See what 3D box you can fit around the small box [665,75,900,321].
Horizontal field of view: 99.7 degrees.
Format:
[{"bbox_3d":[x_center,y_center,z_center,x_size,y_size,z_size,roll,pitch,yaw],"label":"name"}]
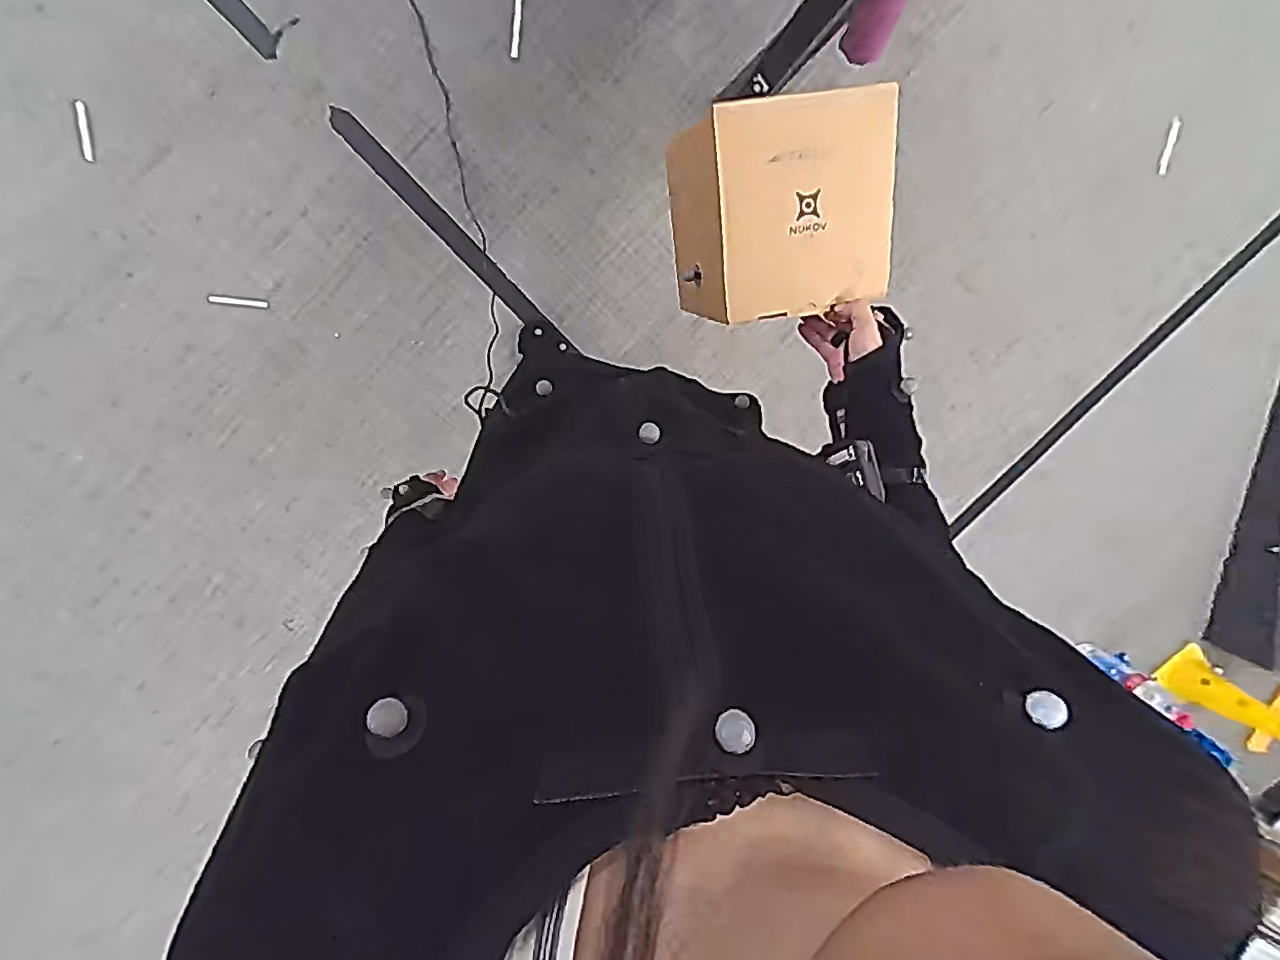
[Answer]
[{"bbox_3d":[0.131,-0.269,0.541,0.168,0.176,0.179,-13,113,-8],"label":"small box"}]
